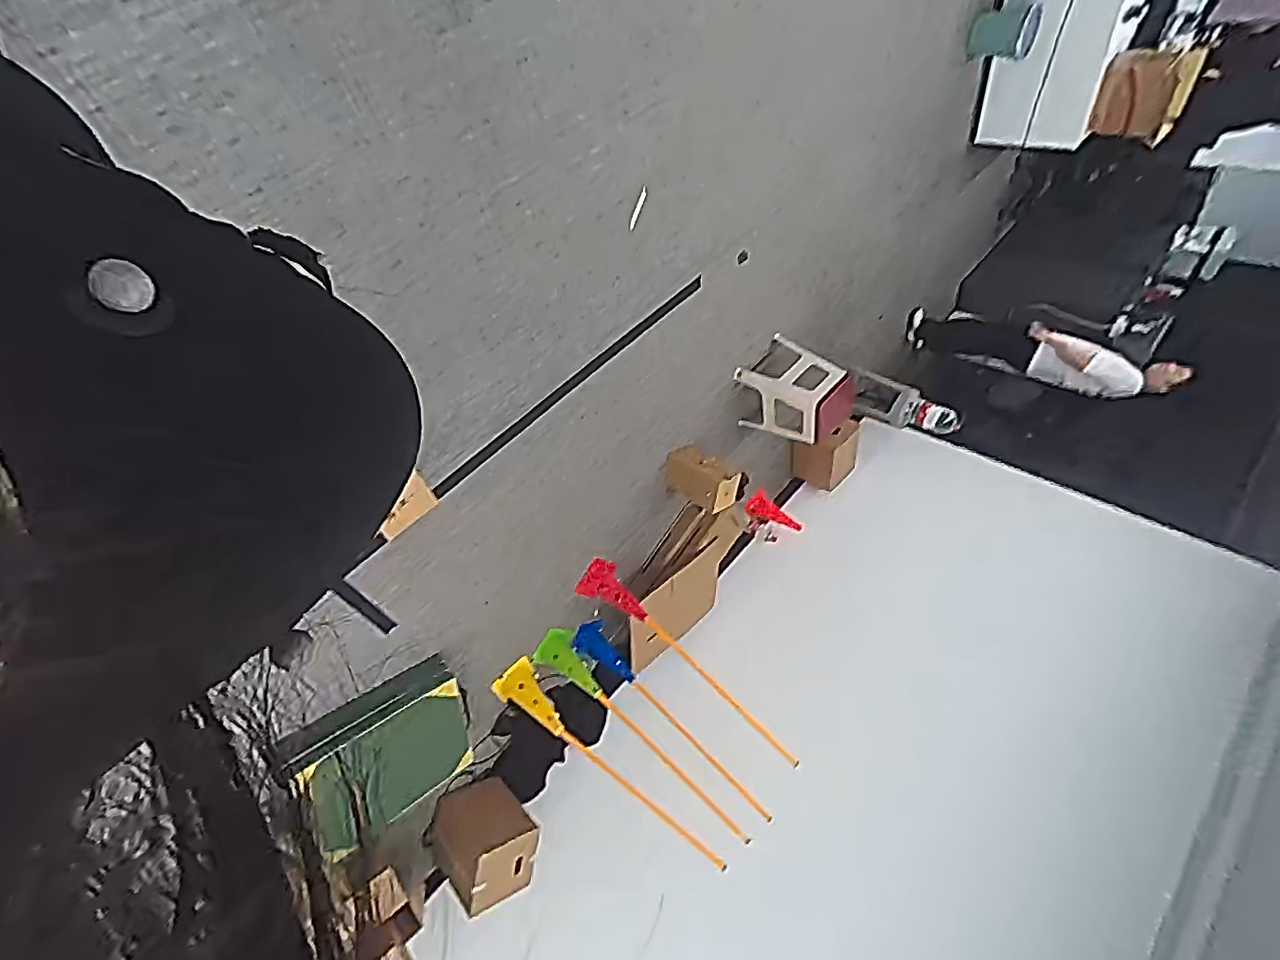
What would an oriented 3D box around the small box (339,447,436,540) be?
[{"bbox_3d":[-0.739,0.035,1.569,0.179,0.176,0.168,-43,142,-23],"label":"small box"}]
